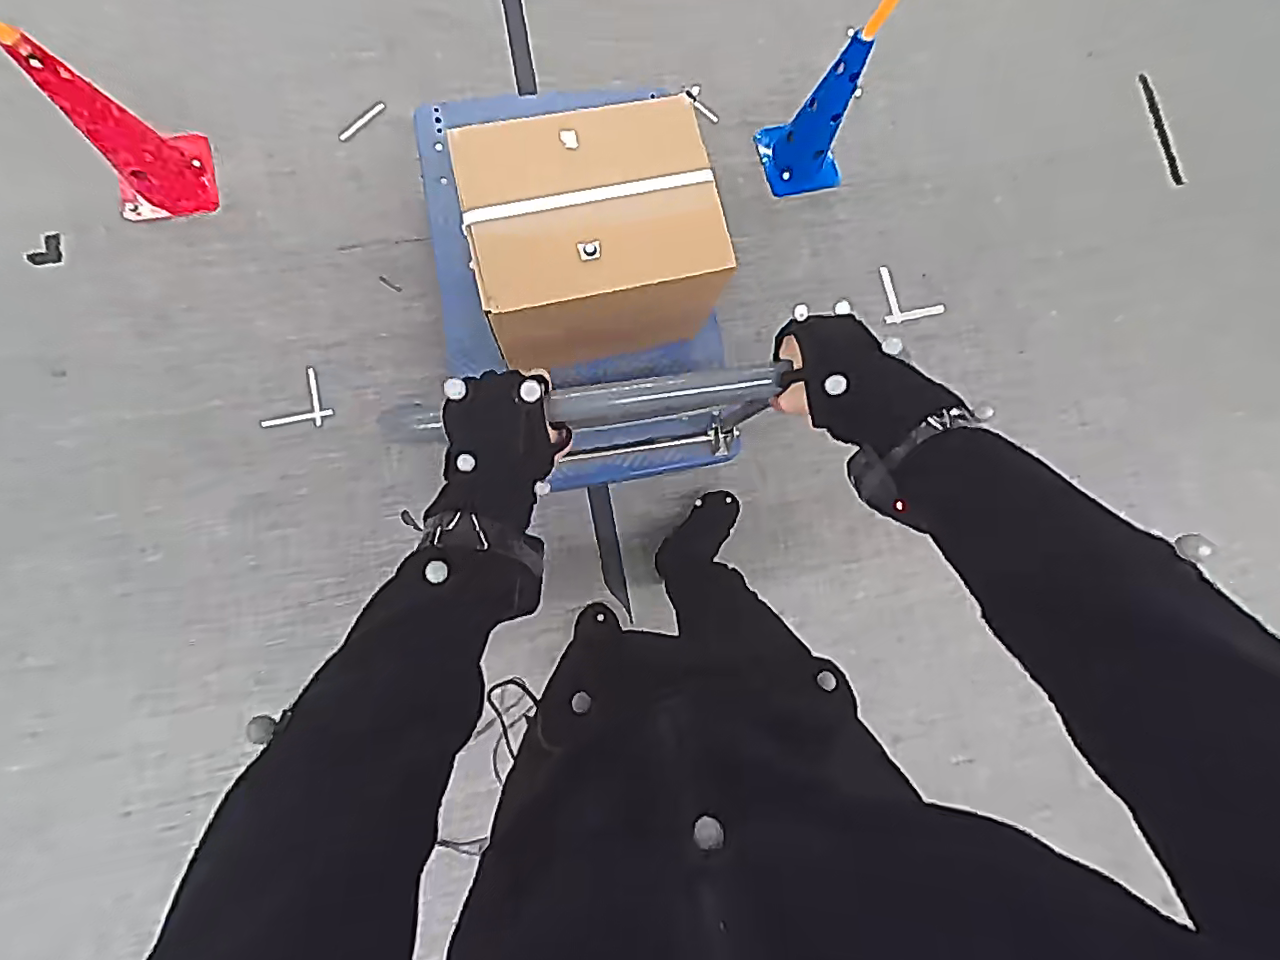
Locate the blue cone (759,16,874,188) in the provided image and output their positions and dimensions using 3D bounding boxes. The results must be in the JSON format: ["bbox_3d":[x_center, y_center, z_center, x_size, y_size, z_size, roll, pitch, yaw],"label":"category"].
[{"bbox_3d":[0.445,-0.897,1.284,0.193,0.380,0.192,-14,84,-8],"label":"blue cone"}]
